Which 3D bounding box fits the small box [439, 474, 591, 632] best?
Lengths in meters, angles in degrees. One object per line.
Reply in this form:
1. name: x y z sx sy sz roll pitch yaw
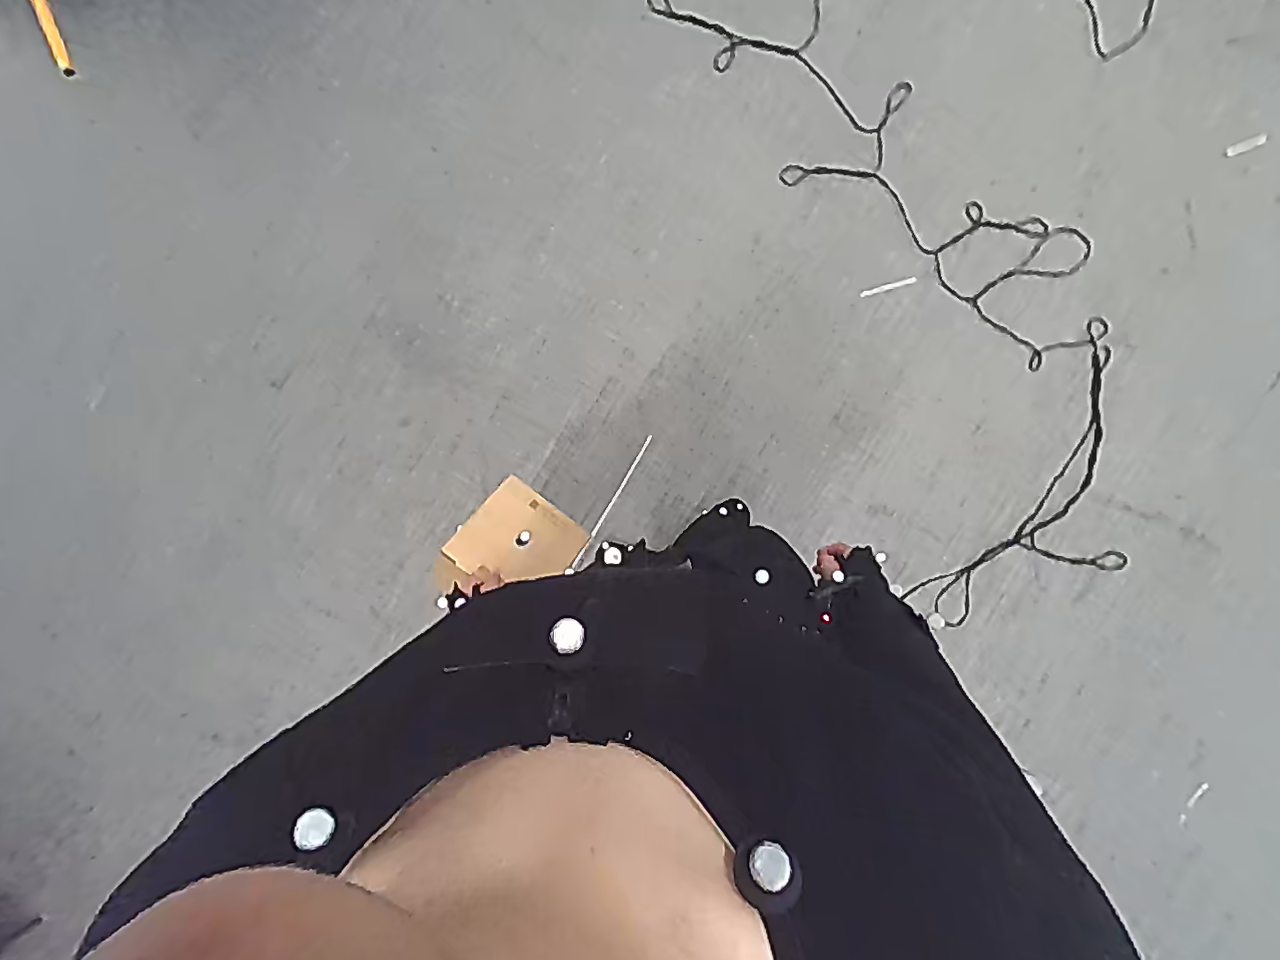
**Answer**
1. small box: -0.203 0.120 0.892 0.168 0.179 0.176 39 55 -3
